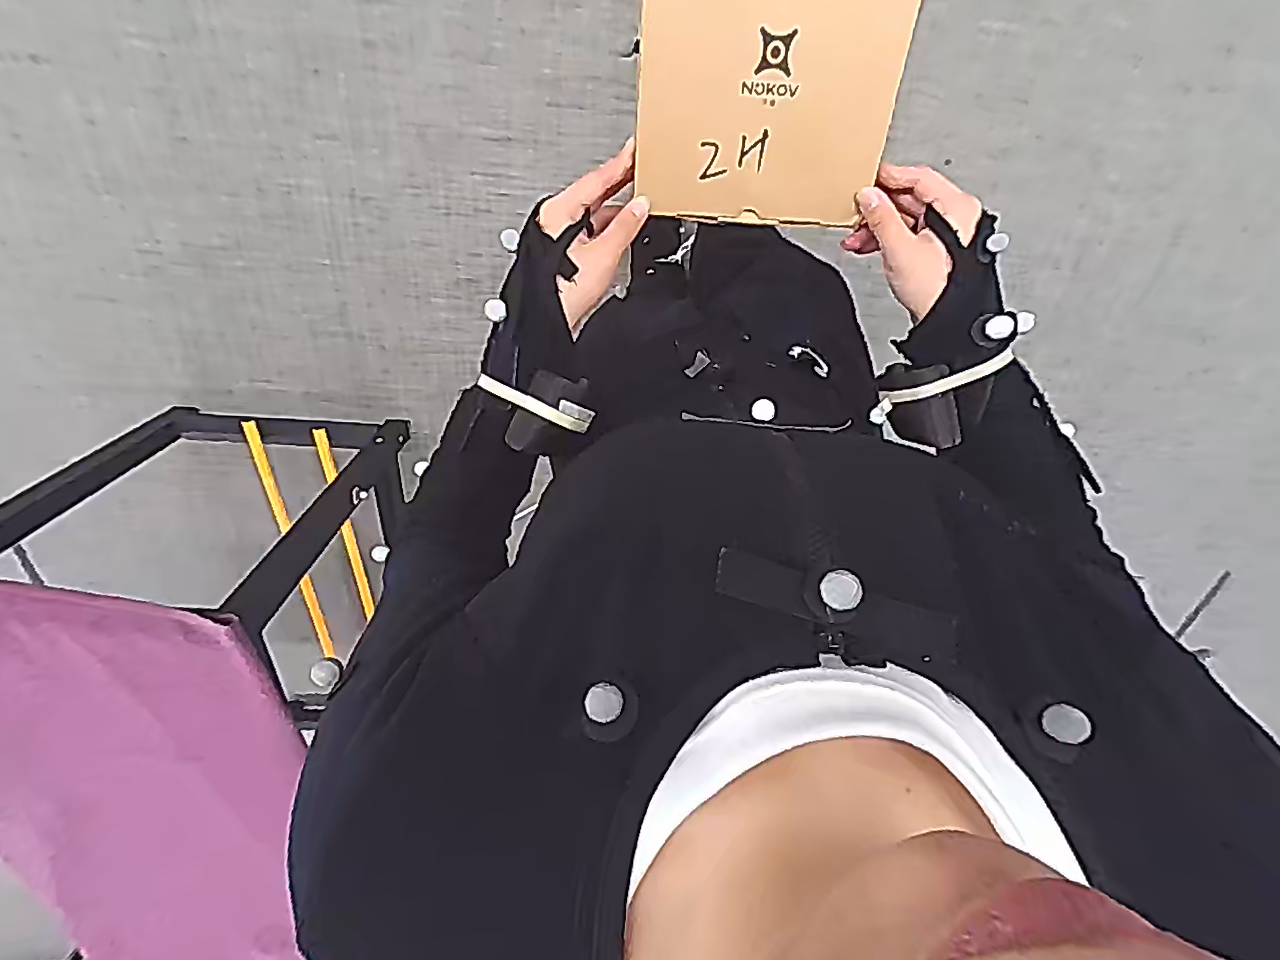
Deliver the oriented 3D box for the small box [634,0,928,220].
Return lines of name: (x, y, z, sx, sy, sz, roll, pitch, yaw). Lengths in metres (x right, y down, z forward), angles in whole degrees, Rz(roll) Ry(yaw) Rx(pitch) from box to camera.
small box: (0.083, -0.301, 0.394, 0.168, 0.176, 0.179, 3, 123, -2)
